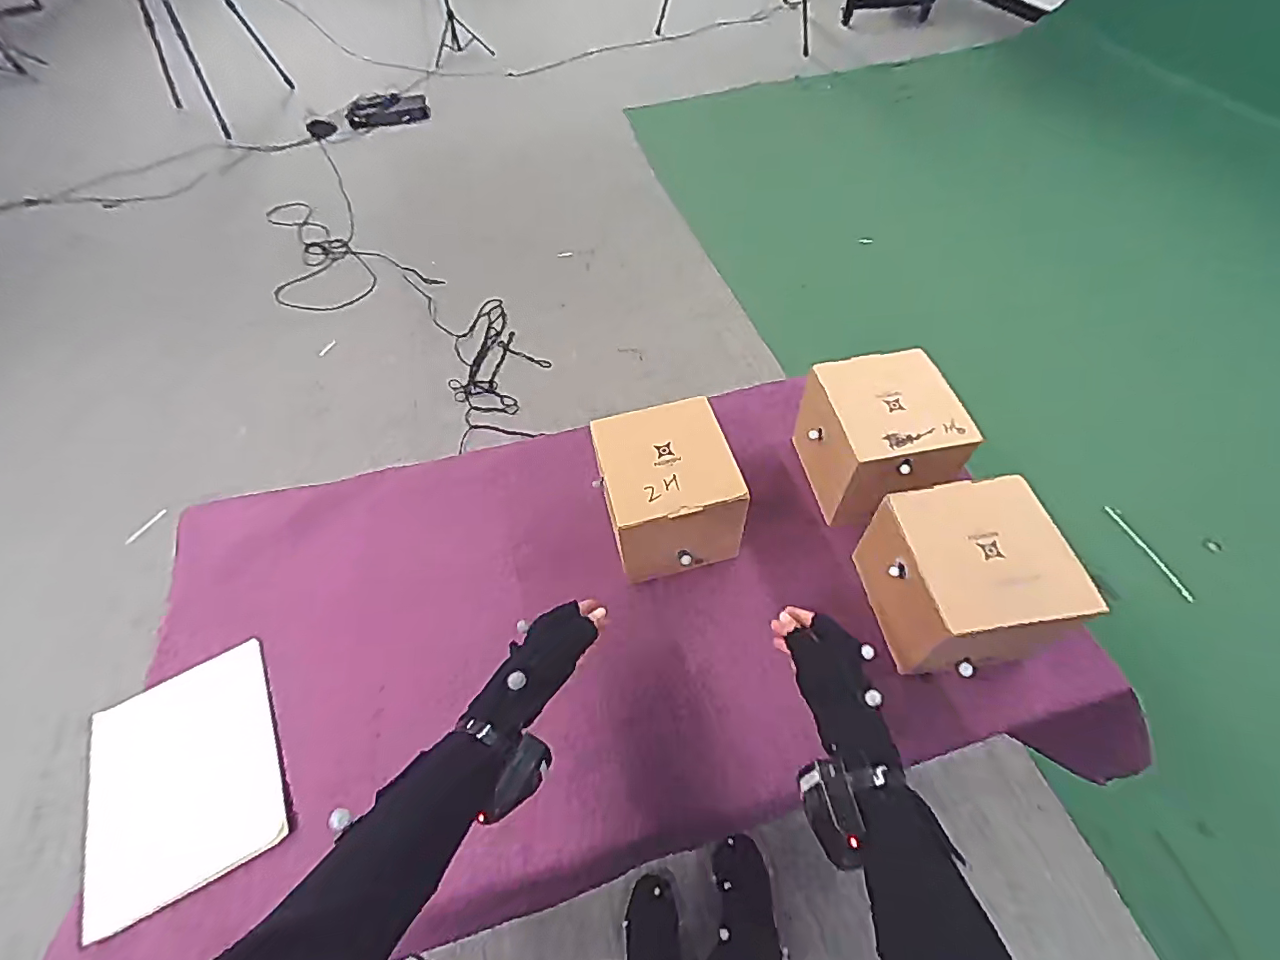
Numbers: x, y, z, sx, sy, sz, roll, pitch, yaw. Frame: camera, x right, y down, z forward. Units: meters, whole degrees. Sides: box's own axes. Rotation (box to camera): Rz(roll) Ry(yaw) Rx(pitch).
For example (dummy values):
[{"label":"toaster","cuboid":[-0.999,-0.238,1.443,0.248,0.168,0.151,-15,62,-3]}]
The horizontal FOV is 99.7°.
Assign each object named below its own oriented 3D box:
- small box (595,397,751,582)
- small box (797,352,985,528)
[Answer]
[{"label":"small box","cuboid":[0.039,0.017,0.751,0.168,0.176,0.179,-13,57,-5]},{"label":"small box","cuboid":[0.342,-0.055,0.781,0.168,0.176,0.179,-9,55,-2]}]
